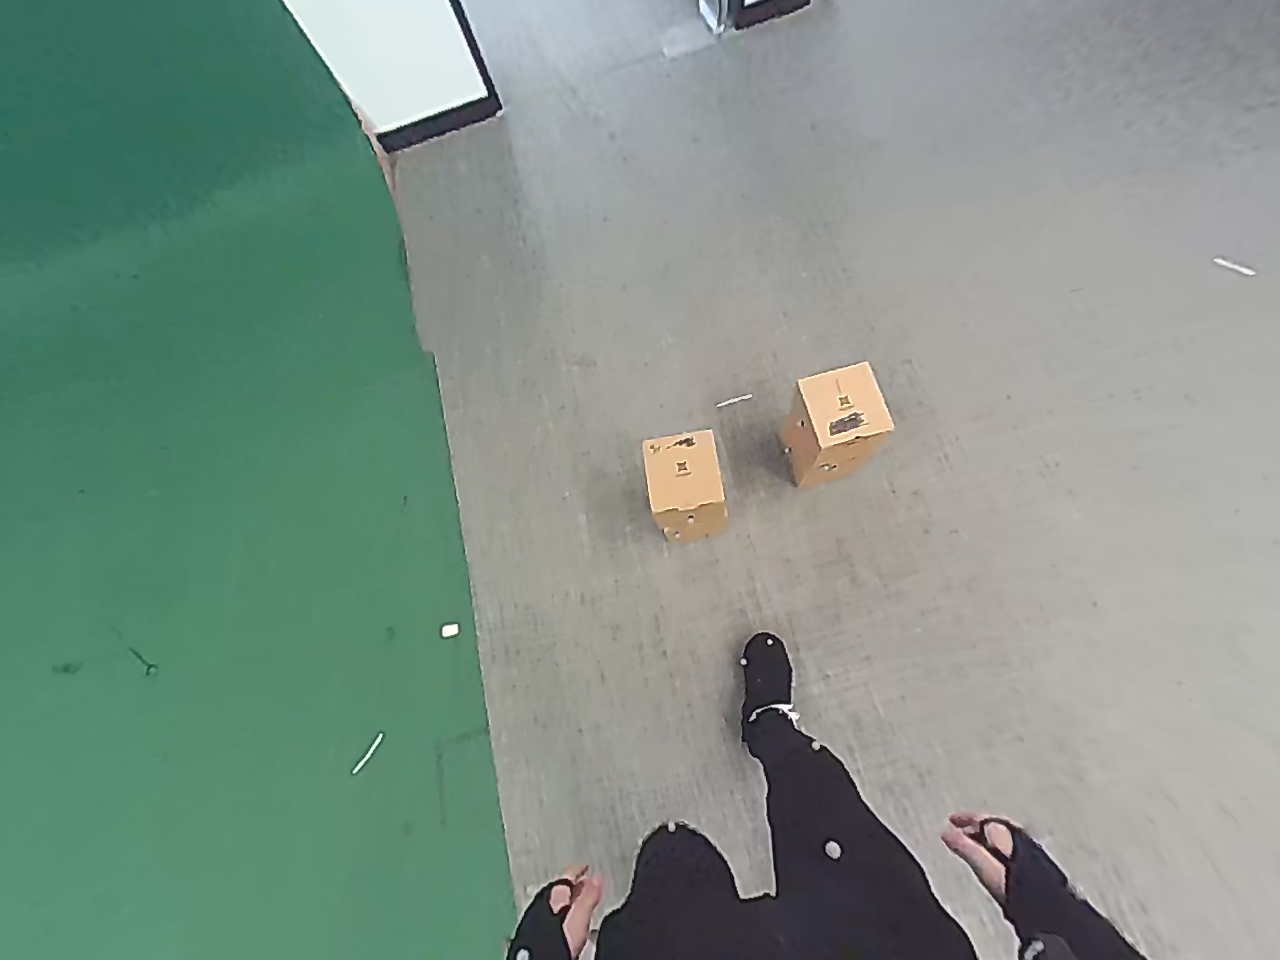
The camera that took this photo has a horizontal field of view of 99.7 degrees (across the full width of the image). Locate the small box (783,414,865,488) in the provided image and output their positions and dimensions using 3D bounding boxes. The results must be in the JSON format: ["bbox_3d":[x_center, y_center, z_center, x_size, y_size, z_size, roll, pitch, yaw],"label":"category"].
[{"bbox_3d":[0.490,-0.092,1.438,0.179,0.176,0.168,-16,71,4],"label":"small box"}]

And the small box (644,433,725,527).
[{"bbox_3d":[0.111,0.009,1.293,0.168,0.176,0.179,-9,72,5],"label":"small box"}]

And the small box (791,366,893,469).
[{"bbox_3d":[0.469,-0.138,1.282,0.168,0.176,0.179,-14,71,4],"label":"small box"}]
